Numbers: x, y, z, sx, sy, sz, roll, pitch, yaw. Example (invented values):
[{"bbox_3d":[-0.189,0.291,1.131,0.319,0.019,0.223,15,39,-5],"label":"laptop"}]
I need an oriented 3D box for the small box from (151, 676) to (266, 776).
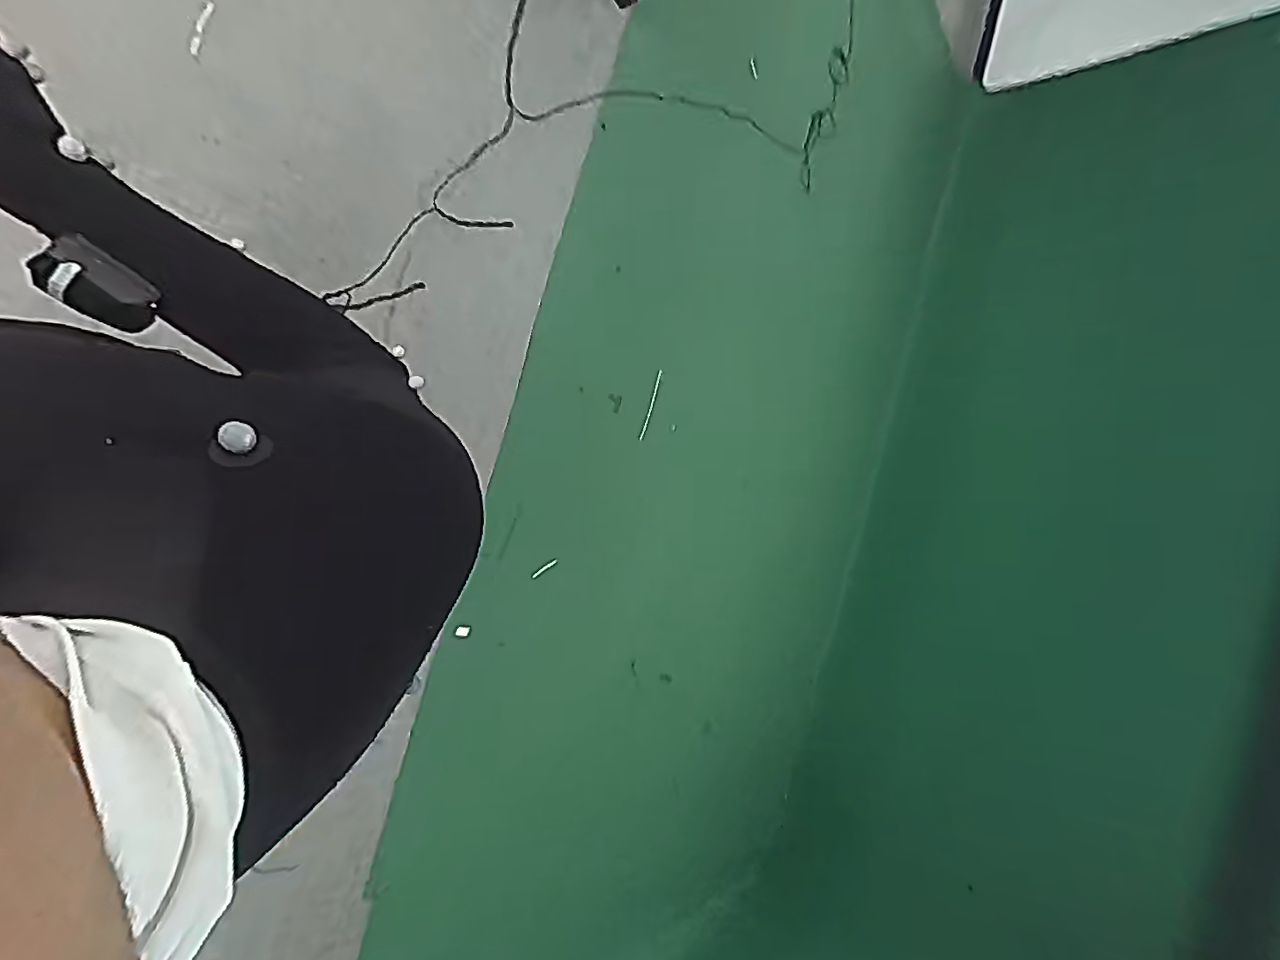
[{"bbox_3d":[-1.063,0.597,1.329,0.179,0.176,0.168,23,83,-44],"label":"small box"}]
